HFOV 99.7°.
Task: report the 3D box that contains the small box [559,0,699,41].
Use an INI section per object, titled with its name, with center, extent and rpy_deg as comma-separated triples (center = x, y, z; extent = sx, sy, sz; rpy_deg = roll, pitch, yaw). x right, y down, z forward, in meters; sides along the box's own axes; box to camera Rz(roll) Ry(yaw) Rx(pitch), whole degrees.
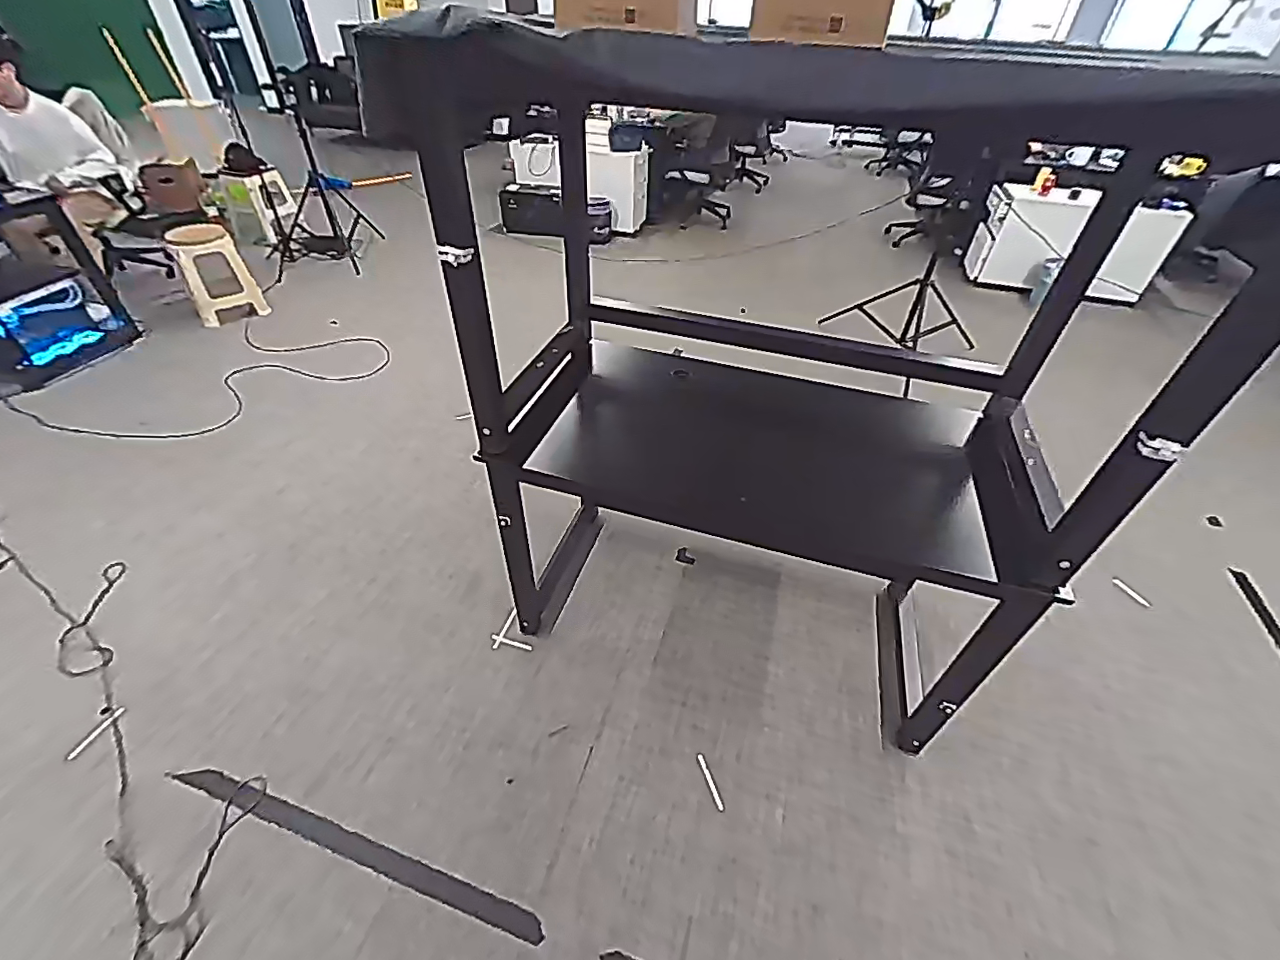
[small box]
center = -0.009, -0.693, 0.714
extent = 0.168, 0.176, 0.179
rpy_deg = 11, 41, 8
